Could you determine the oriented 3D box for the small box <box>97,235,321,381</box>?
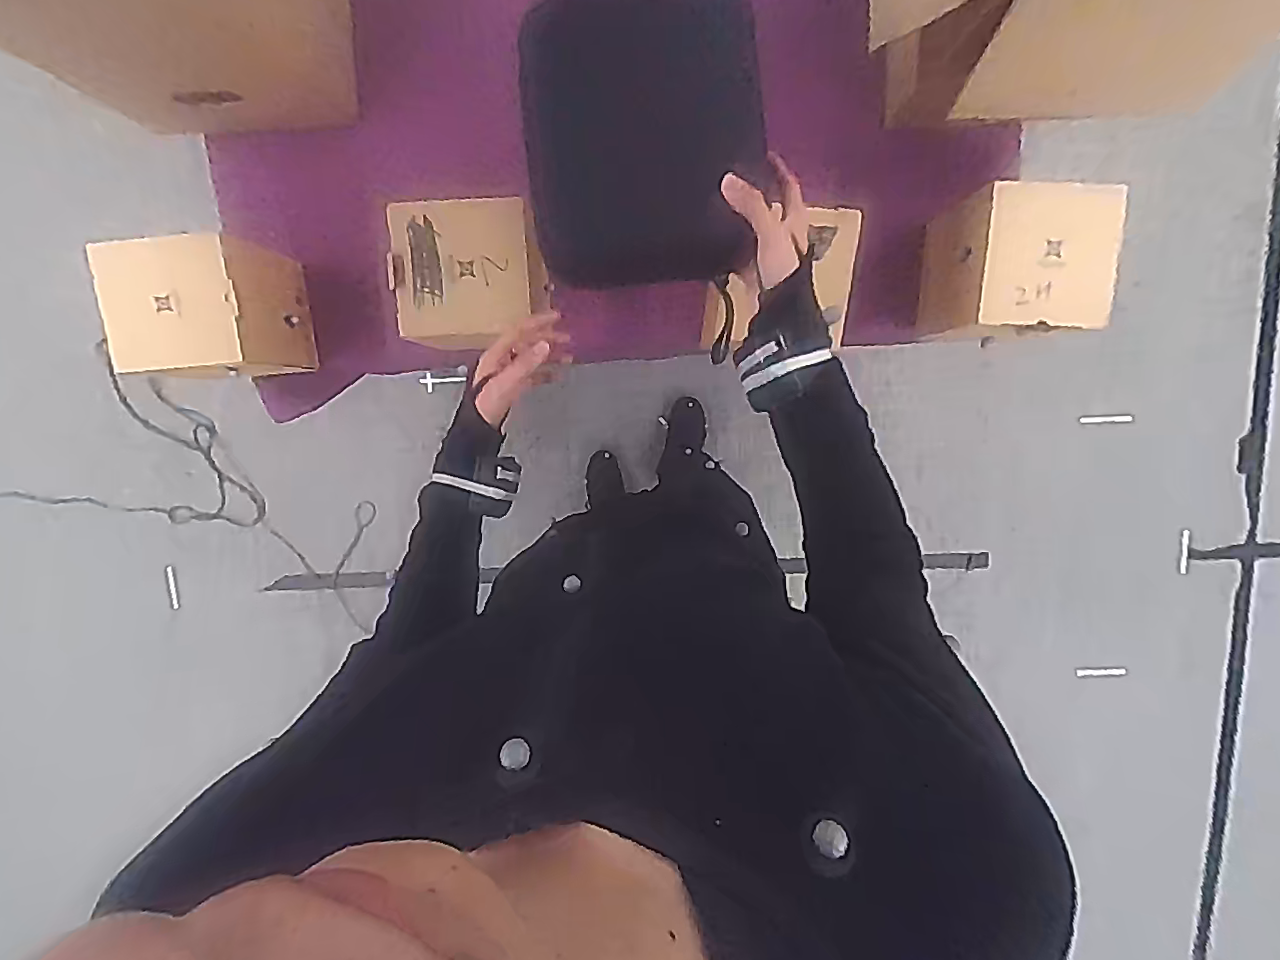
[{"bbox_3d":[-0.602,-0.235,0.778,0.179,0.176,0.168,-5,98,0],"label":"small box"}]

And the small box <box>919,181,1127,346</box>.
[{"bbox_3d":[0.516,-0.290,0.755,0.168,0.176,0.179,3,98,1],"label":"small box"}]
